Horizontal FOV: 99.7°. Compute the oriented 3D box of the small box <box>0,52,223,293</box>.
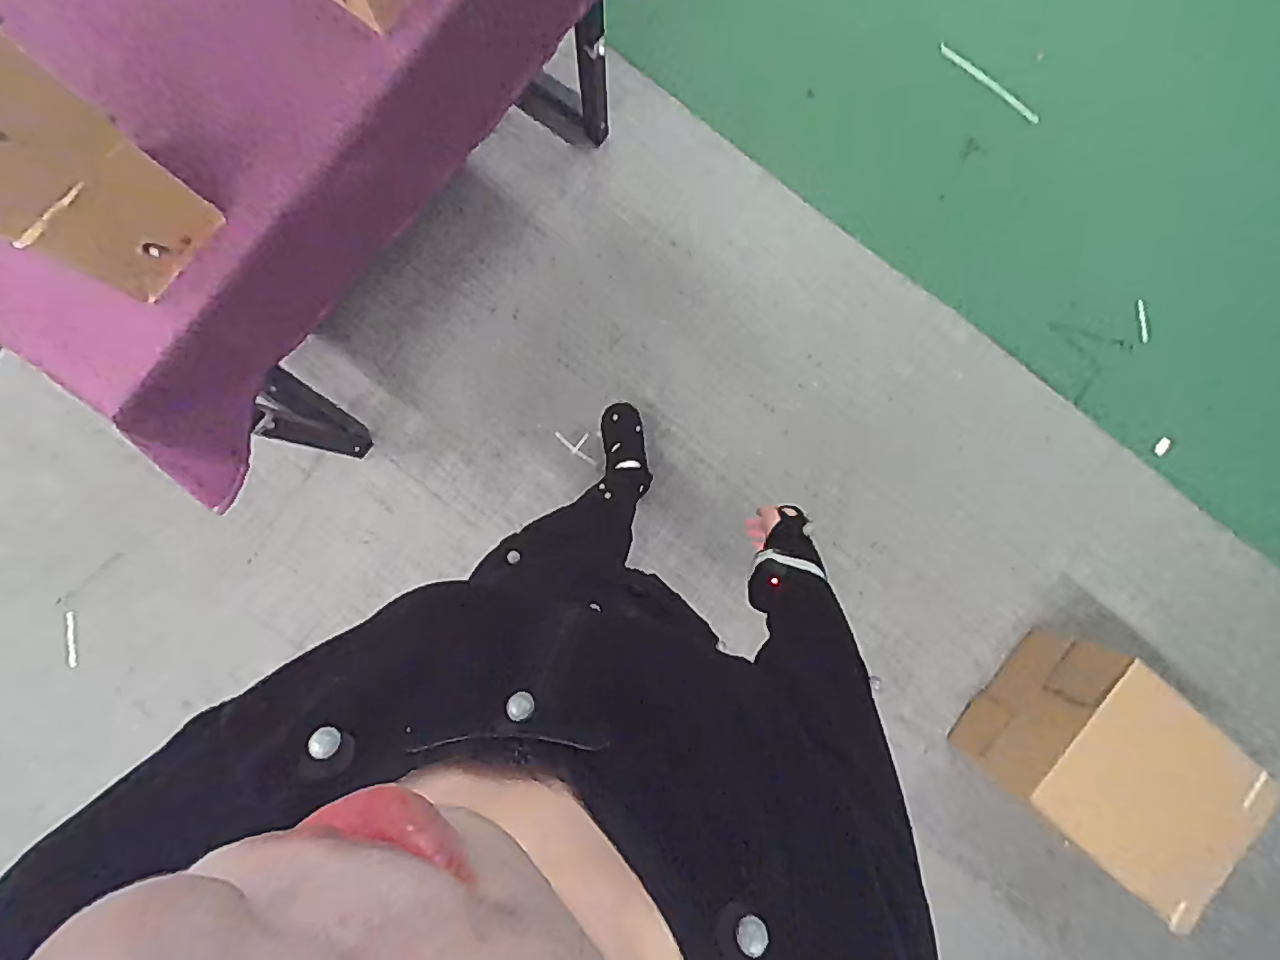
[{"bbox_3d":[-0.710,-0.377,0.697,0.179,0.176,0.168,37,85,1],"label":"small box"}]

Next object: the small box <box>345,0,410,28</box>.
[{"bbox_3d":[-0.393,-0.789,0.739,0.168,0.176,0.179,38,85,1],"label":"small box"}]
